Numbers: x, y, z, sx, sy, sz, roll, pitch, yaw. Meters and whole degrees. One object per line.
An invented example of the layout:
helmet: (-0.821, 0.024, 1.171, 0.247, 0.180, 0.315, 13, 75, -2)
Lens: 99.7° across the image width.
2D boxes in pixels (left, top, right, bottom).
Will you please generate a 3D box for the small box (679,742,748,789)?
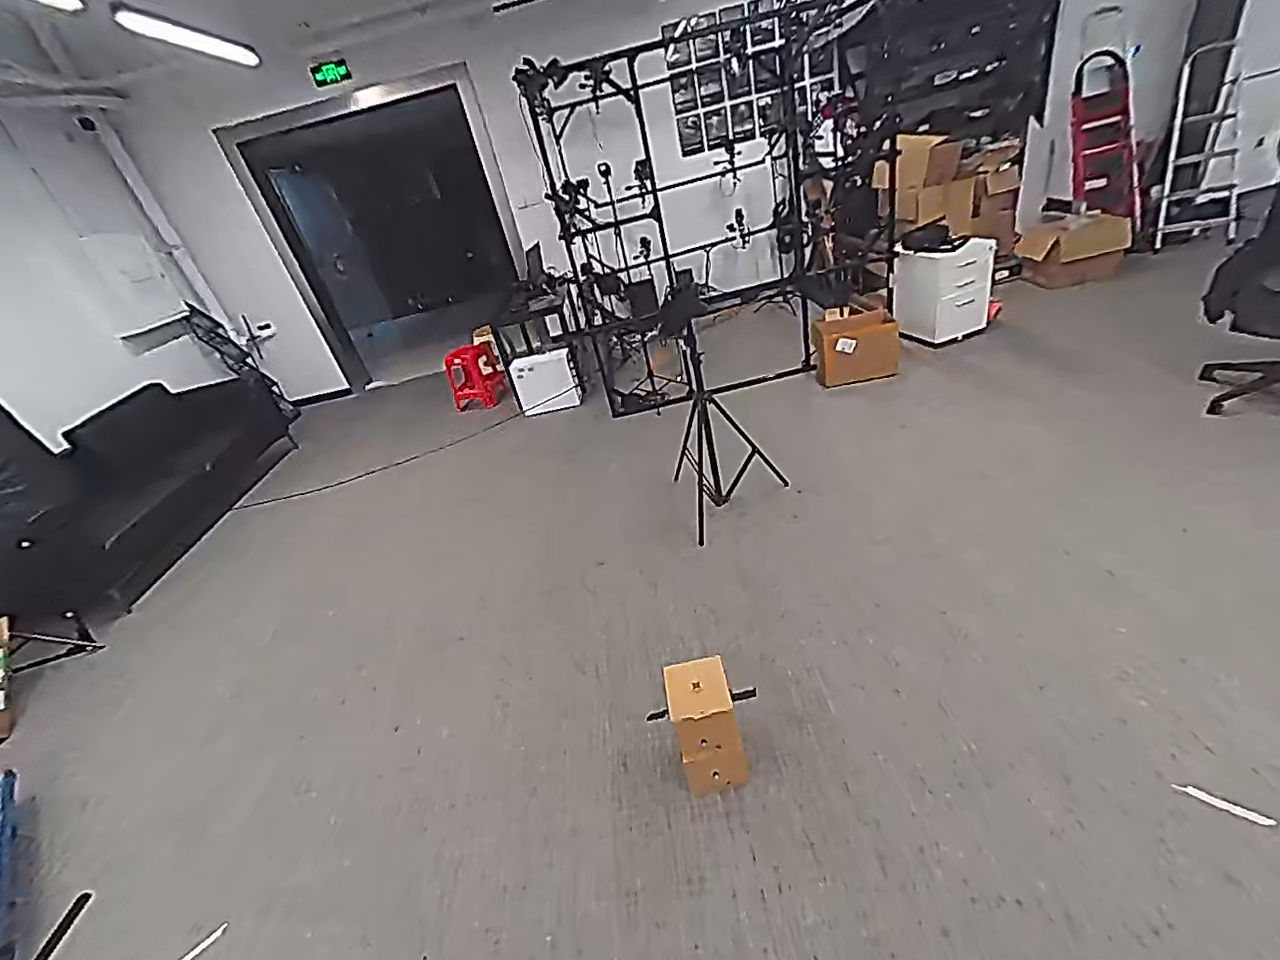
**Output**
small box: (0.203, 0.755, 1.551, 0.168, 0.176, 0.179, -14, 30, 1)

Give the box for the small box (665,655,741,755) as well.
small box: (0.170, 0.613, 1.476, 0.168, 0.176, 0.179, -14, 31, 3)
